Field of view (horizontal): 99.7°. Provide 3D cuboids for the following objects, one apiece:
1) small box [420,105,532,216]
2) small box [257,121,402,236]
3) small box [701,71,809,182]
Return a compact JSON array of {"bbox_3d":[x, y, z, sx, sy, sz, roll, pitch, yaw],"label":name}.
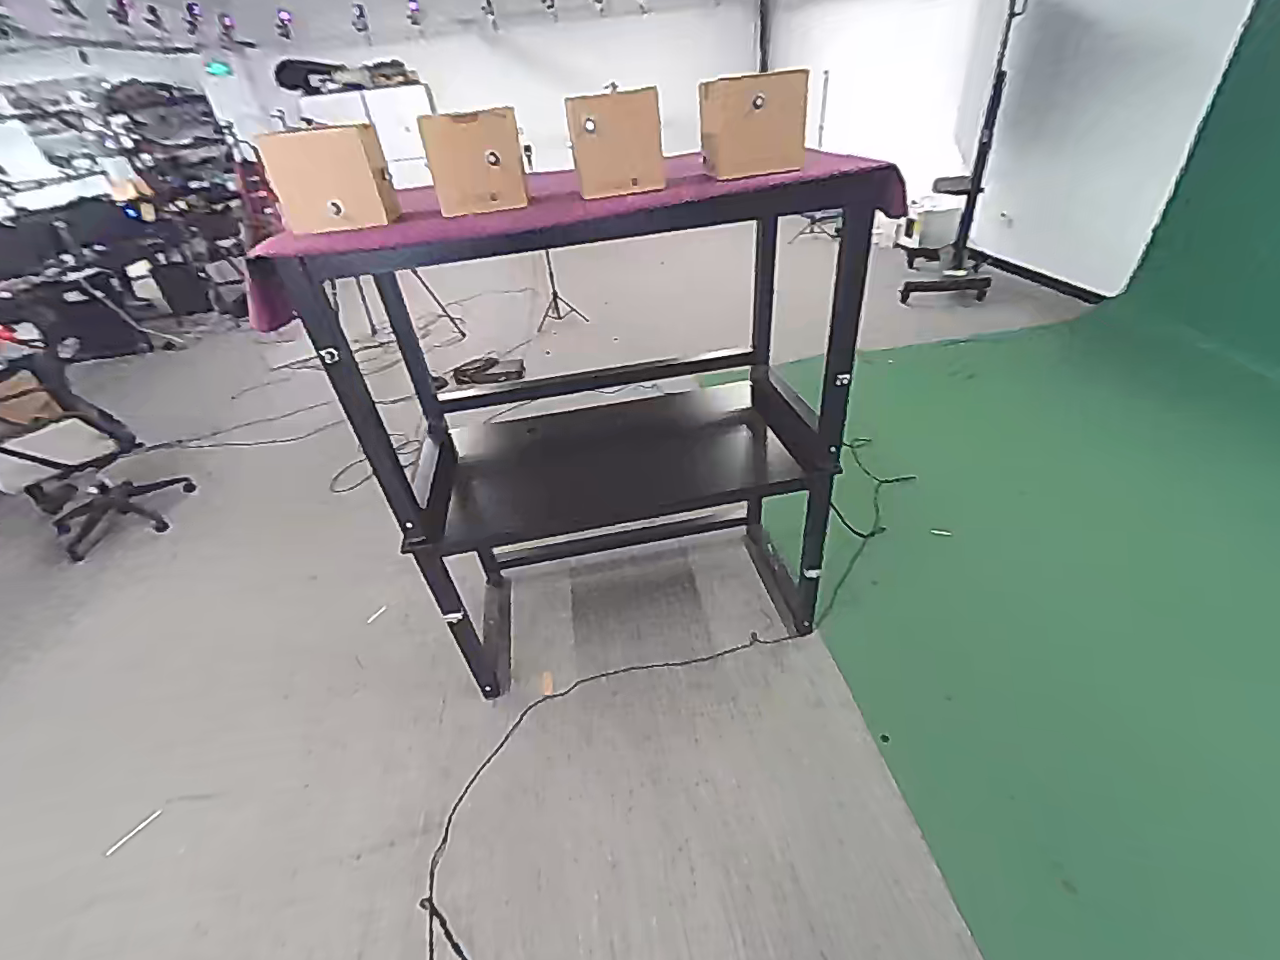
[{"bbox_3d":[-0.312,-0.630,1.070,0.168,0.176,0.179,-8,35,-3],"label":"small box"},{"bbox_3d":[-0.580,-0.583,1.043,0.179,0.176,0.168,-10,35,-7],"label":"small box"},{"bbox_3d":[0.231,-0.722,1.113,0.179,0.176,0.168,-9,35,-4],"label":"small box"}]
